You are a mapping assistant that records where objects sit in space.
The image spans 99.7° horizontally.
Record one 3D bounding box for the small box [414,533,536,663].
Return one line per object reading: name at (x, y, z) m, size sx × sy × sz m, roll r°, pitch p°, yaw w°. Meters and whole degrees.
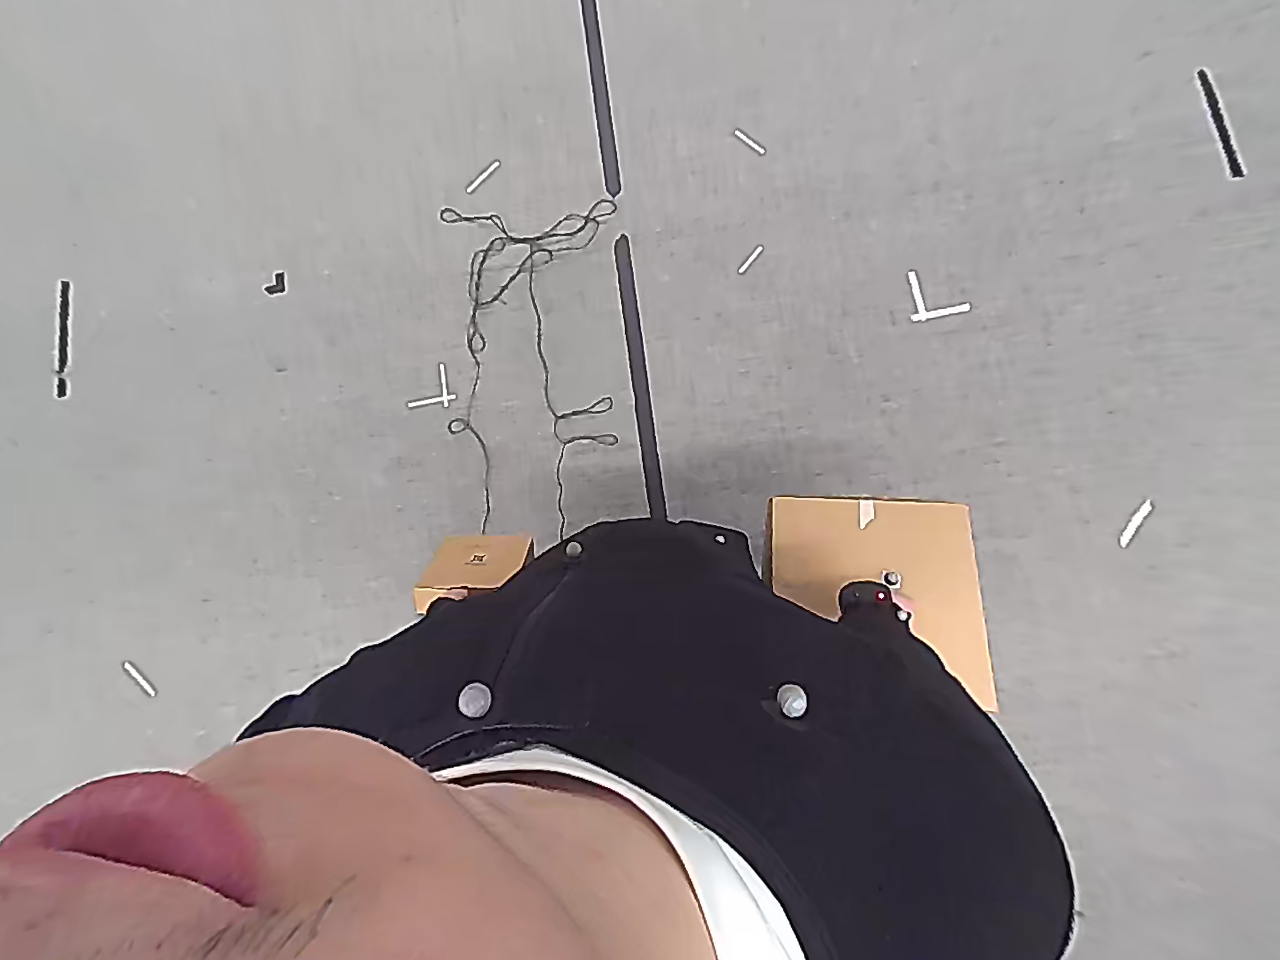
small box at (-0.286, 0.213, 0.982) m, size 0.168 × 0.179 × 0.176 m, roll 1°, pitch 115°, yaw -1°
